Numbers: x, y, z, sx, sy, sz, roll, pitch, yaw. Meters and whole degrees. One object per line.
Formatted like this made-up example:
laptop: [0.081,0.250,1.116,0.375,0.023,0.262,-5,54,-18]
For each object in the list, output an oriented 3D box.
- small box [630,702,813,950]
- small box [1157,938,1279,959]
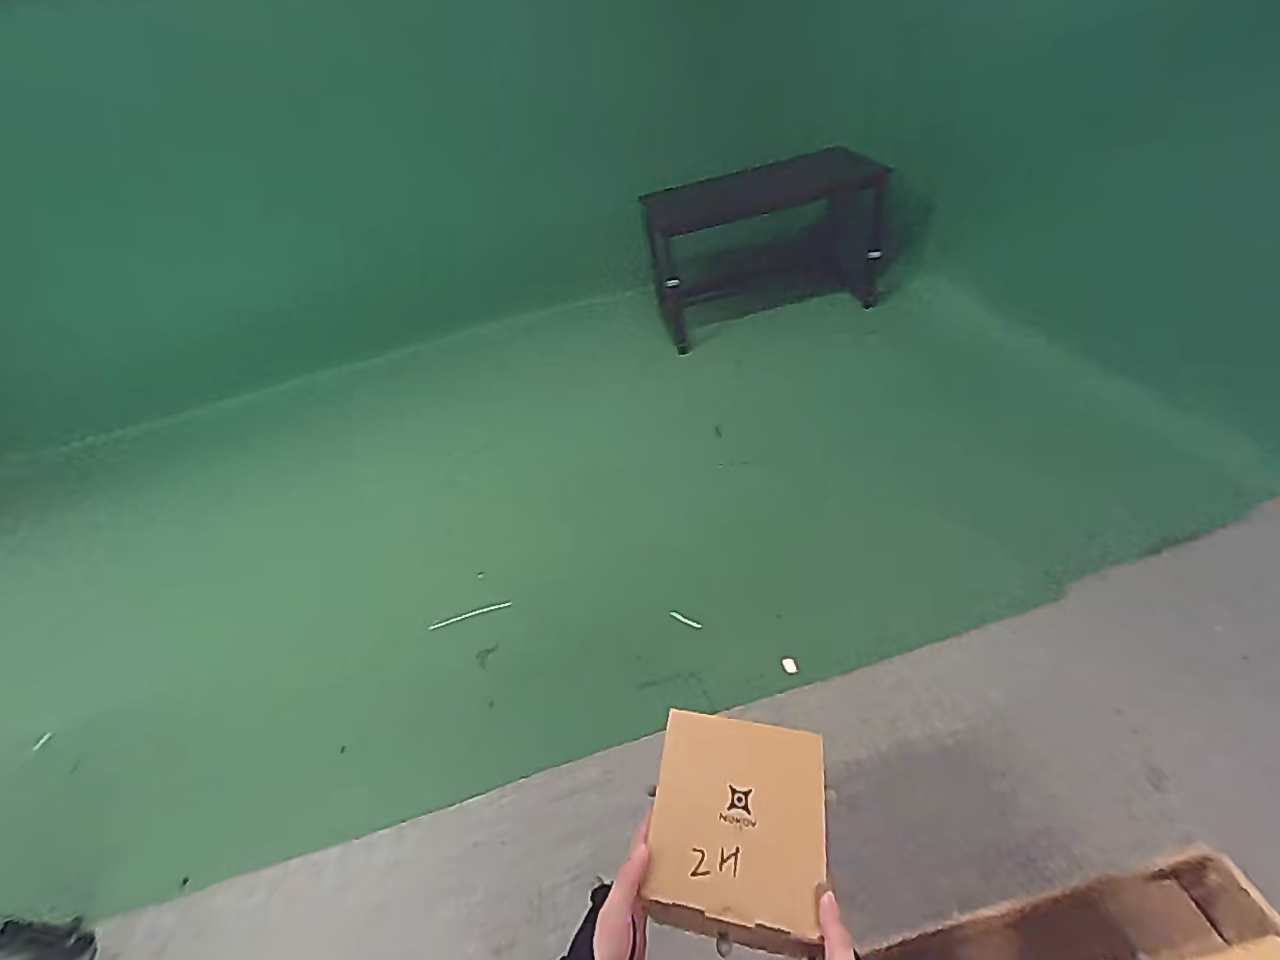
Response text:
small box: [0.091,0.374,0.589,0.168,0.176,0.179,5,45,12]
small box: [0.656,0.641,0.600,0.179,0.176,0.168,-16,43,0]
